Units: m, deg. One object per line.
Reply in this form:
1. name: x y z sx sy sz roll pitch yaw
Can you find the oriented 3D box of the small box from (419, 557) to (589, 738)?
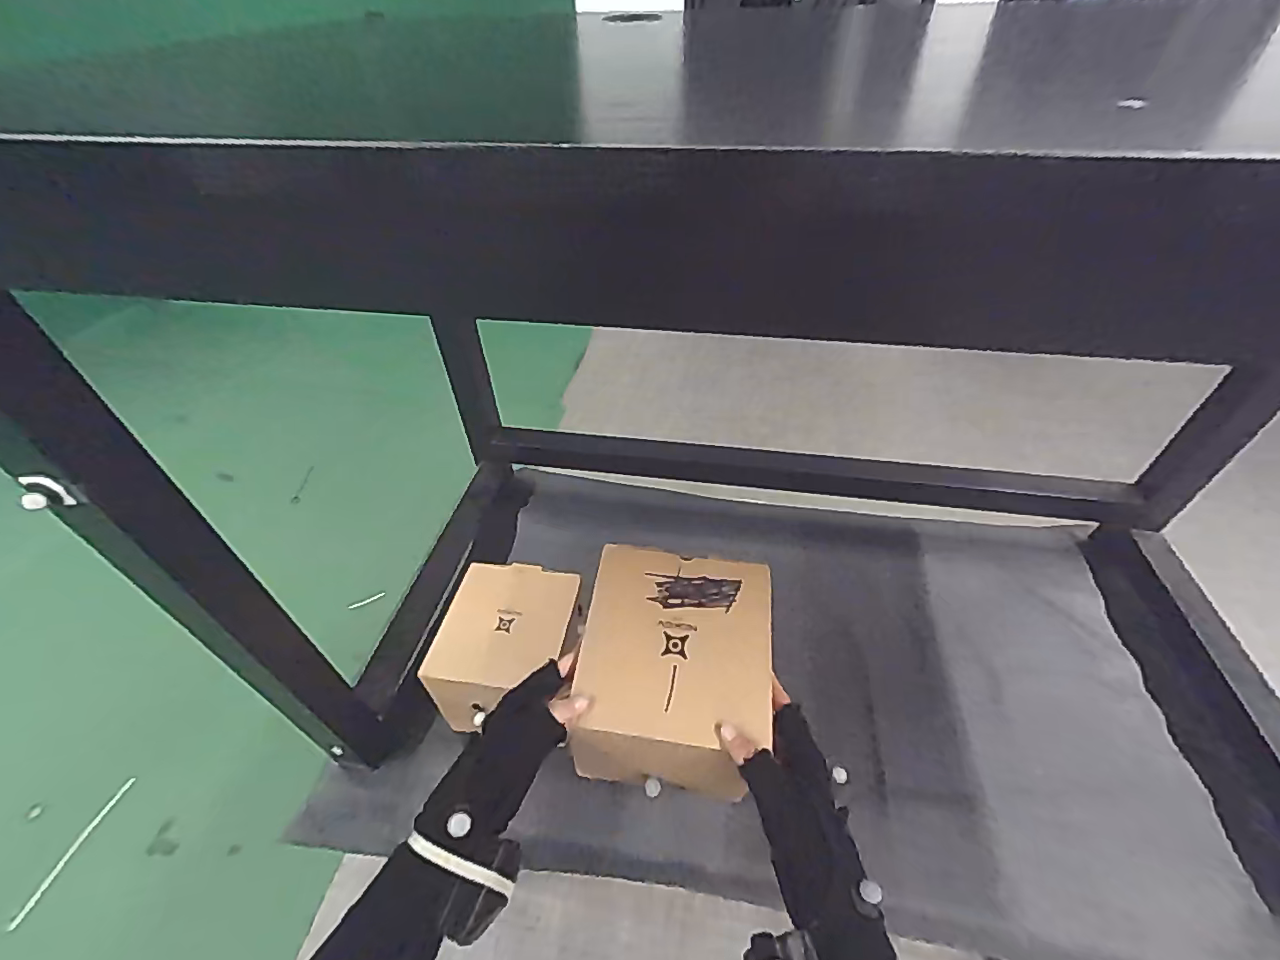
1. small box: -0.171 0.233 0.752 0.168 0.176 0.179 5 43 7
